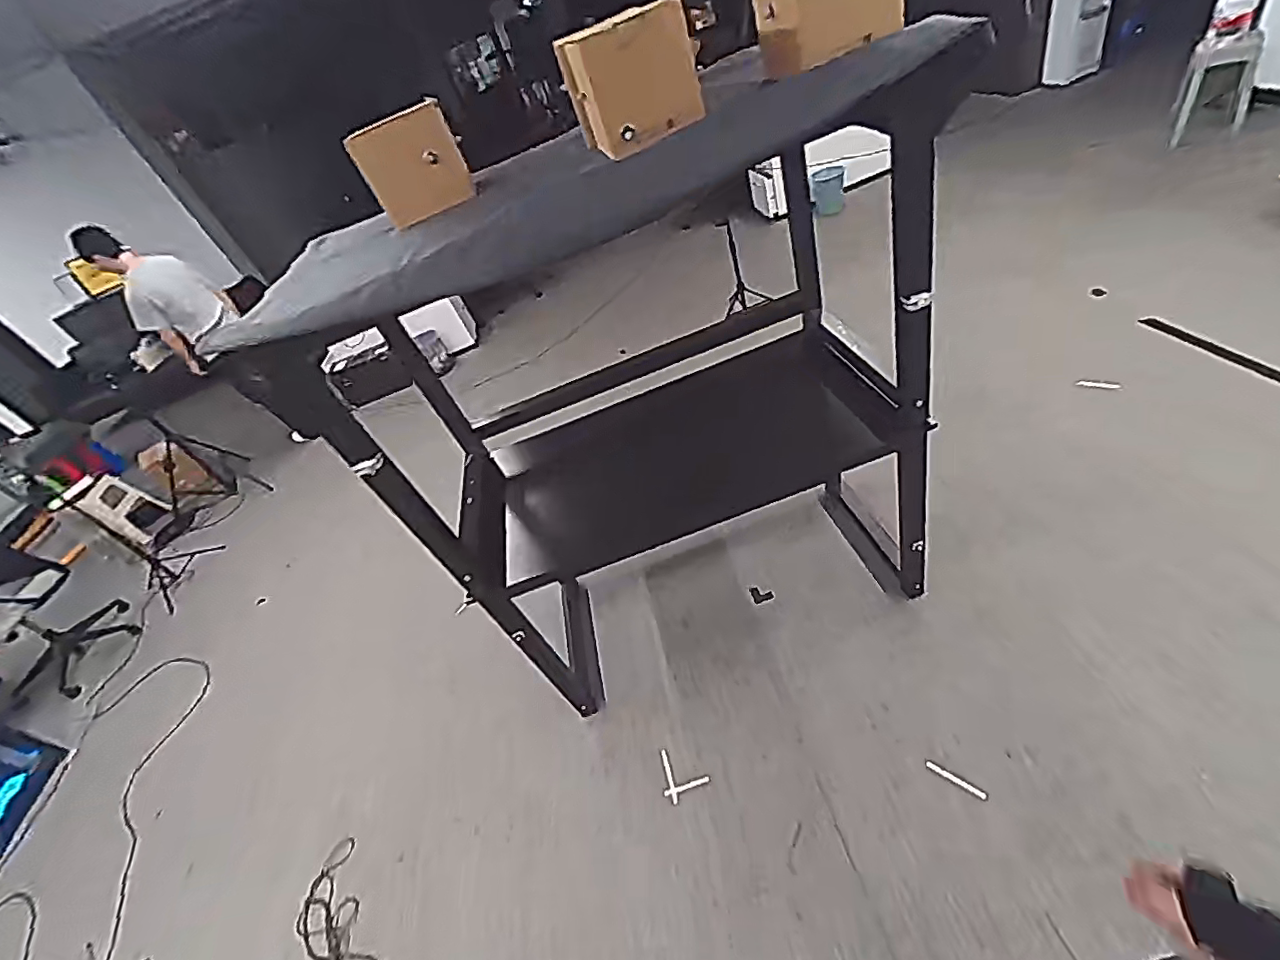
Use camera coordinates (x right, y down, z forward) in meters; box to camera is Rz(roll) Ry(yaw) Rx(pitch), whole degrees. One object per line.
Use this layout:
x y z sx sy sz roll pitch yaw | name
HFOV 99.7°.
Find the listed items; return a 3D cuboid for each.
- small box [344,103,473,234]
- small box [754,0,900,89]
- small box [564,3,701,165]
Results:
-0.452 -0.627 1.089 0.179 0.176 0.168 -23 40 1 | small box
0.291 -0.751 0.862 0.168 0.176 0.179 -22 39 3 | small box
-0.011 -0.655 0.906 0.168 0.176 0.179 -23 39 2 | small box
